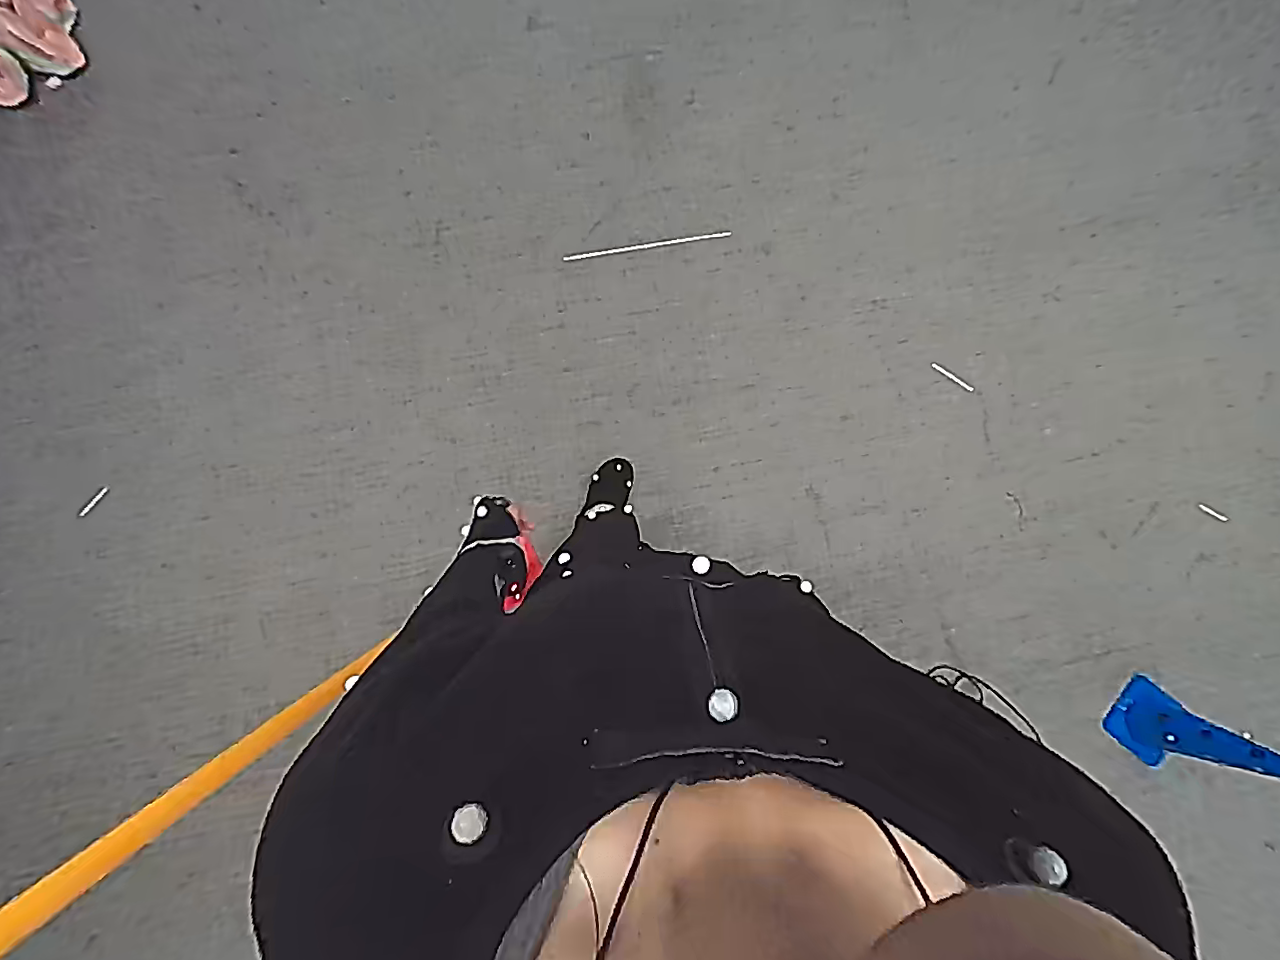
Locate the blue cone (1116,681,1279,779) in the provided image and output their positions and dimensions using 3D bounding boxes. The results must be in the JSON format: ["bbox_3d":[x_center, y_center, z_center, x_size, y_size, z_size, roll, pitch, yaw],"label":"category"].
[{"bbox_3d":[1.470,0.674,1.371,0.192,0.380,0.193,38,83,0],"label":"blue cone"}]
